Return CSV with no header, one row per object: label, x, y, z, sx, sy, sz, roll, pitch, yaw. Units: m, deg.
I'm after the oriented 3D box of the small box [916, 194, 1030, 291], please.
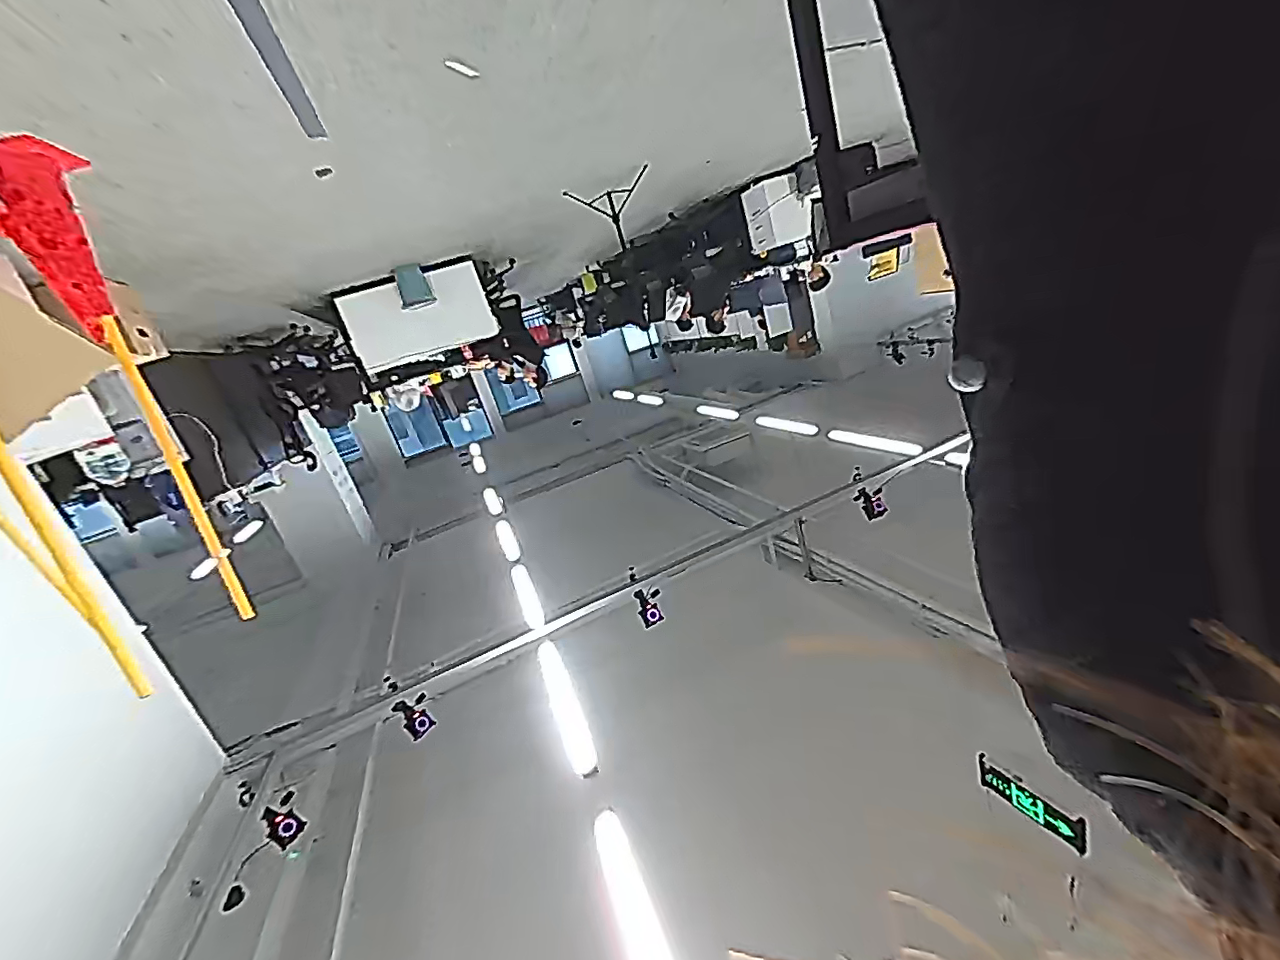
small box,0.808,-0.582,1.327,0.168,0.176,0.179,-22,-161,-9
